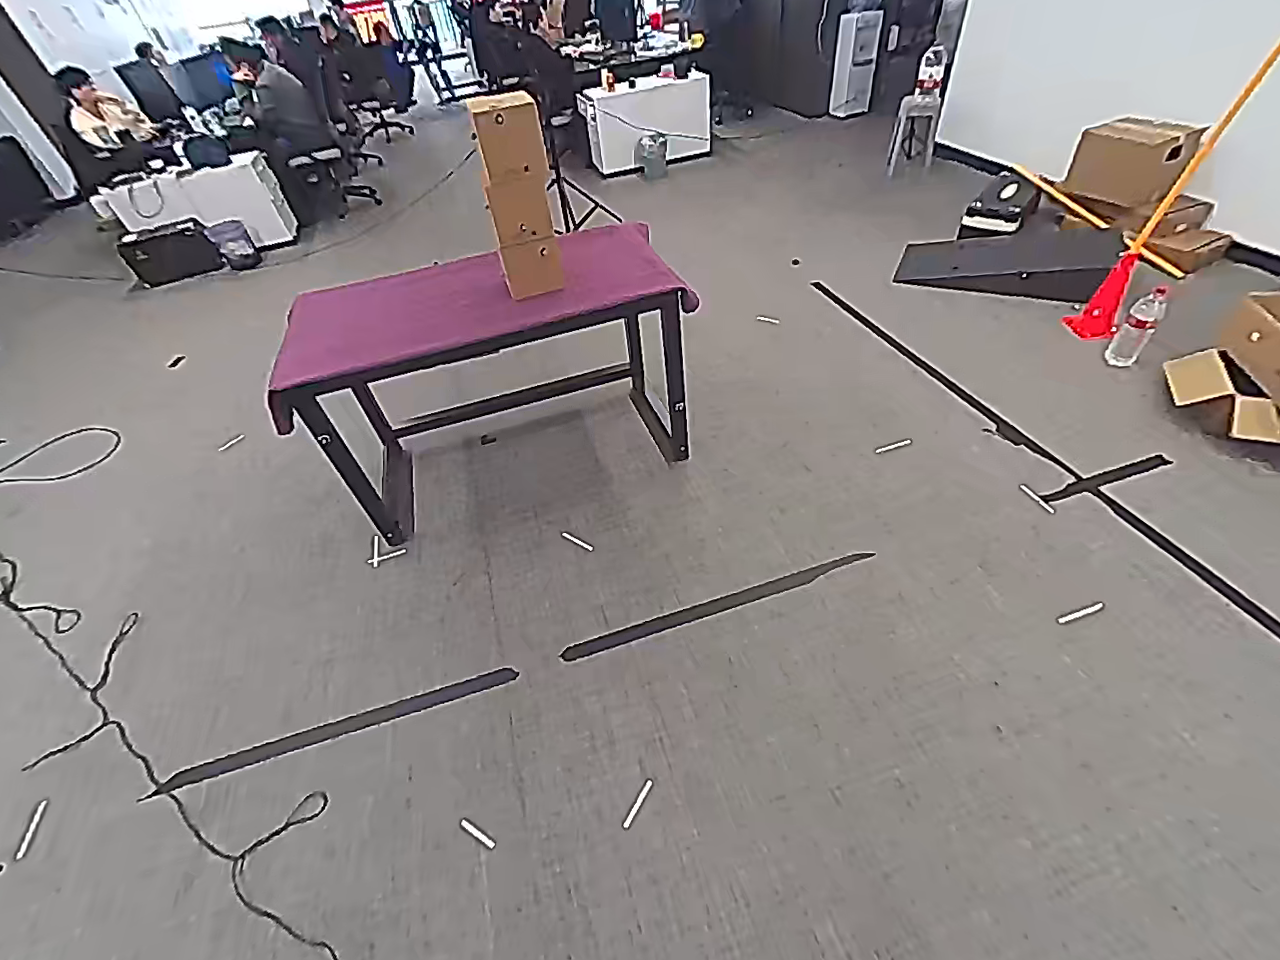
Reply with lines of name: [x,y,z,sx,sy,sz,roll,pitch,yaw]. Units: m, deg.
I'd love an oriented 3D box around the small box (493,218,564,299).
small box: [-0.346,-0.698,1.705,0.179,0.176,0.168,-18,45,-9]

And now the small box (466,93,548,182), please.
small box: [-0.362,-0.934,1.476,0.168,0.176,0.179,-18,45,-9]
